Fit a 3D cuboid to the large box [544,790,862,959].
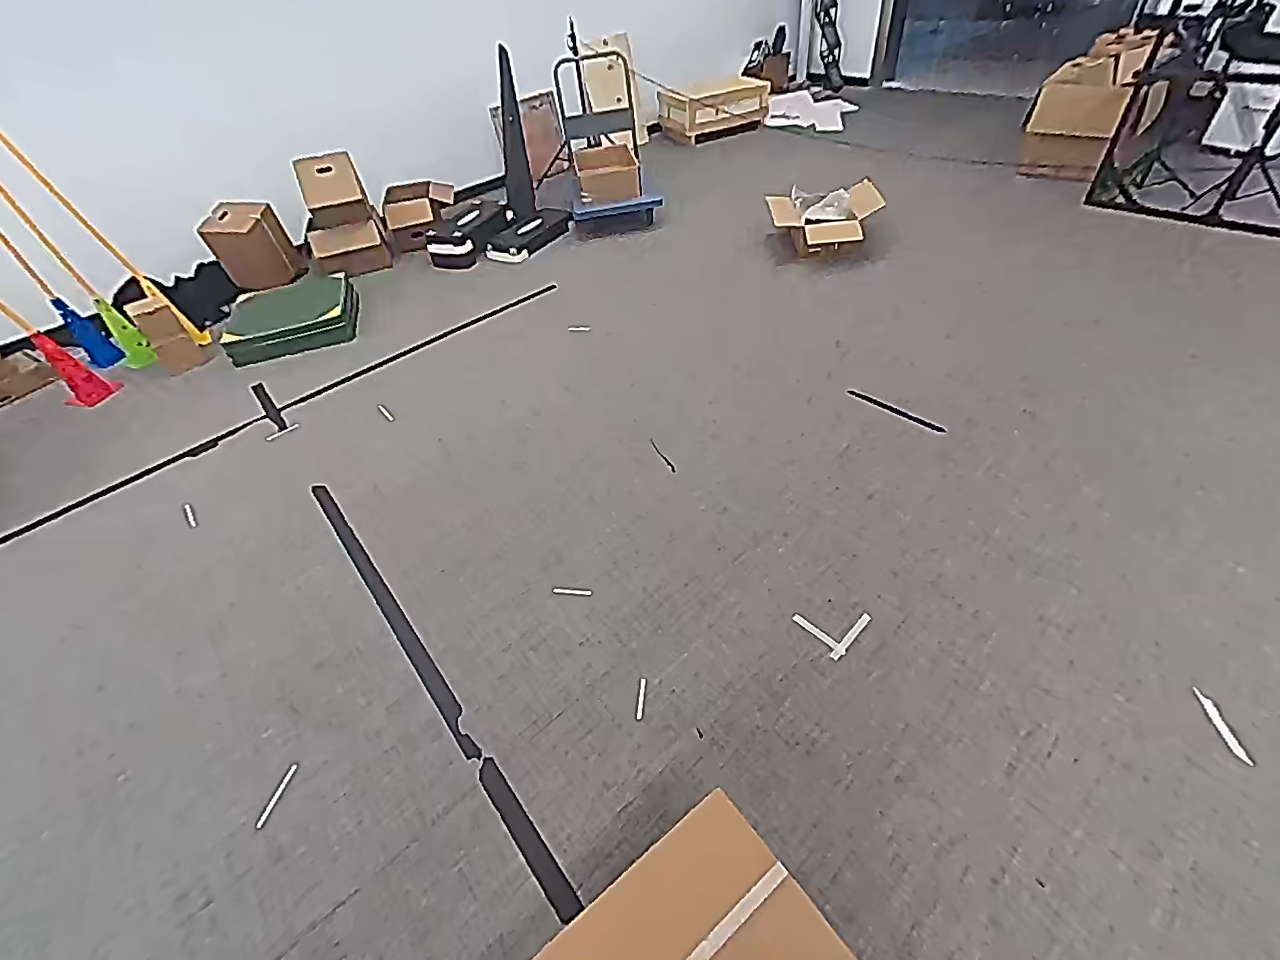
[{"bbox_3d":[0.100,0.835,0.907,0.408,0.320,0.320,-31,49,-22],"label":"large box"}]
